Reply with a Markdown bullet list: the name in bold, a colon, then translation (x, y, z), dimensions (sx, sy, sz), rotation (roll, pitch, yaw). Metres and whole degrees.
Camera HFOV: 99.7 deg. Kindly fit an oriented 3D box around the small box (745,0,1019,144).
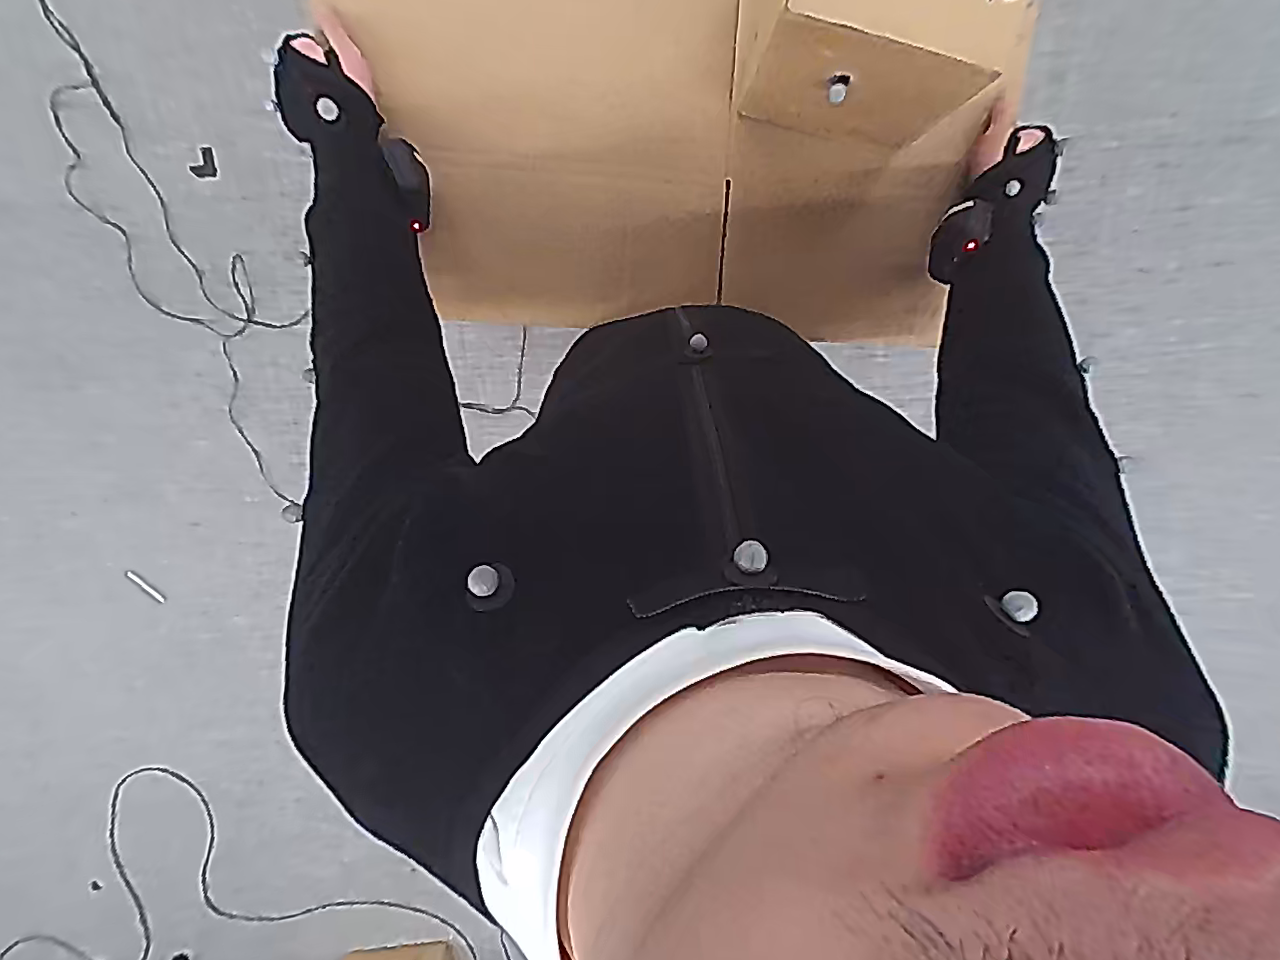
- **small box**: translation (0.204, -0.423, 0.467), dimensions (0.179, 0.176, 0.168), rotation (12, 102, -3)
